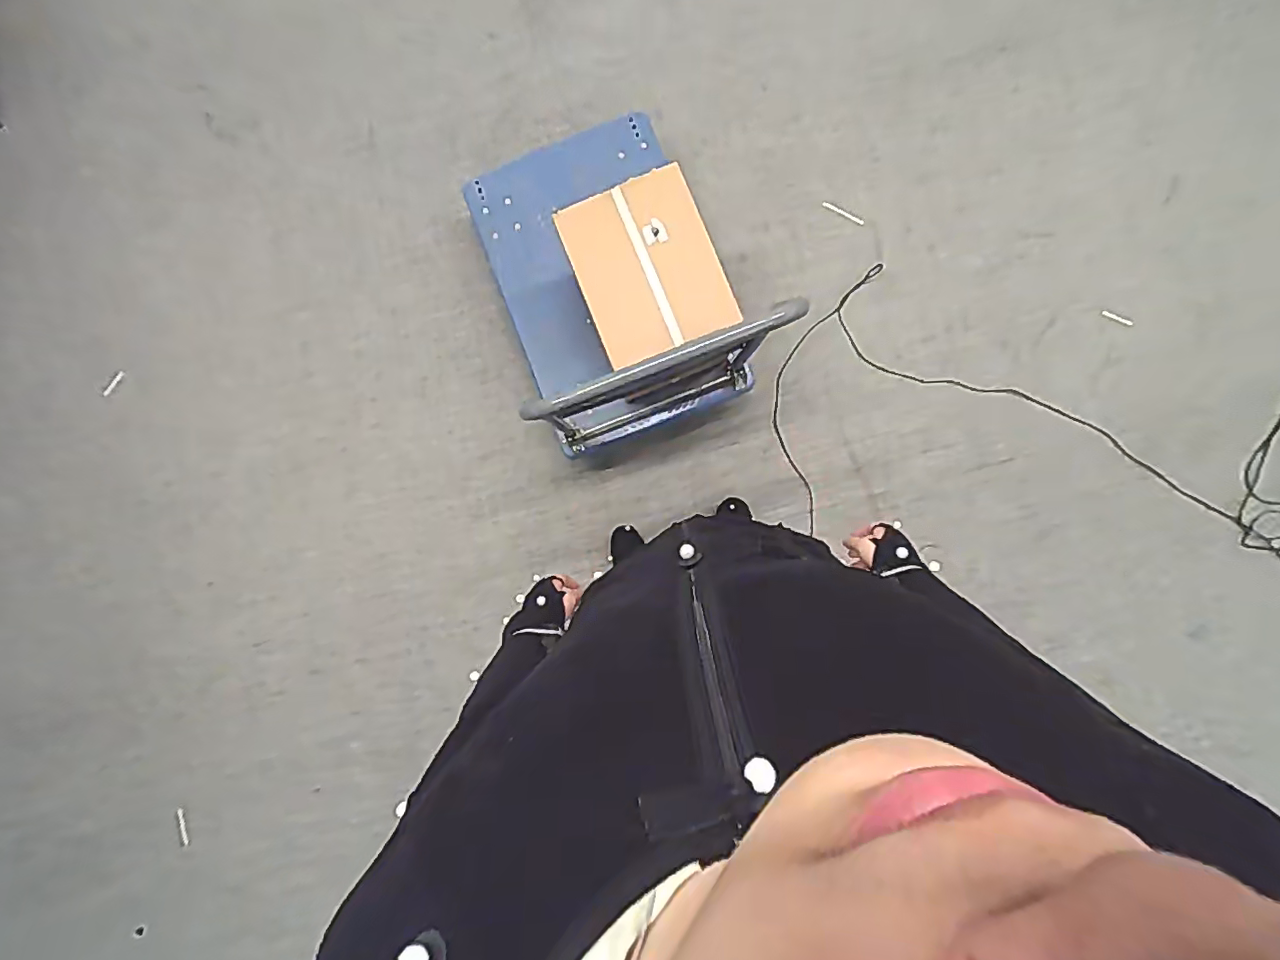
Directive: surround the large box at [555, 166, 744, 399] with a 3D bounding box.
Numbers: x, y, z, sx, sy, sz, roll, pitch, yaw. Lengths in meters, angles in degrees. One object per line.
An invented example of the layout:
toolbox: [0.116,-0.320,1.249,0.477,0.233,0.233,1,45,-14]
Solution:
large box: [0.028,-0.470,1.370,0.320,0.320,0.408,-22,86,1]
